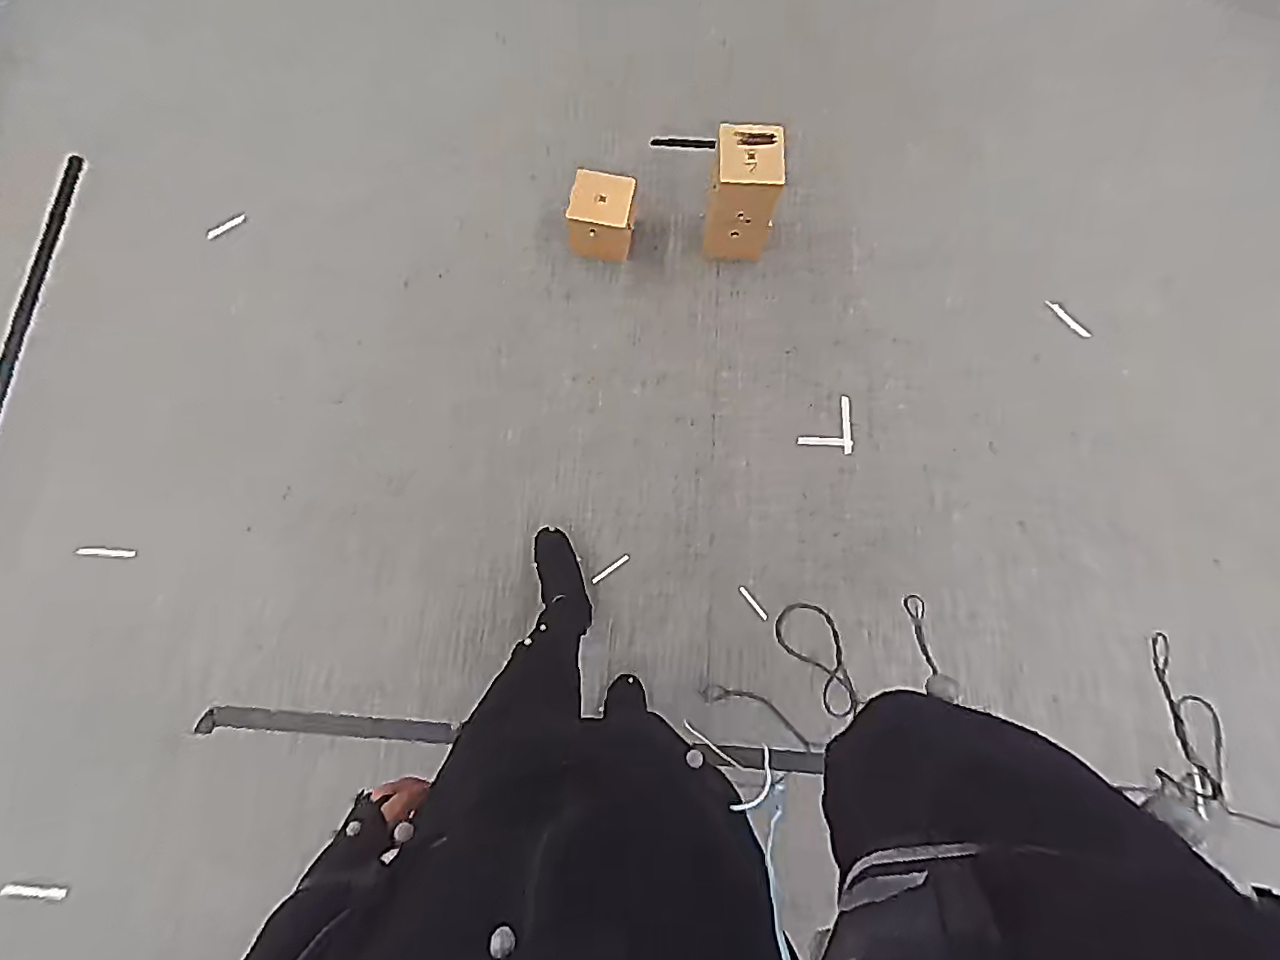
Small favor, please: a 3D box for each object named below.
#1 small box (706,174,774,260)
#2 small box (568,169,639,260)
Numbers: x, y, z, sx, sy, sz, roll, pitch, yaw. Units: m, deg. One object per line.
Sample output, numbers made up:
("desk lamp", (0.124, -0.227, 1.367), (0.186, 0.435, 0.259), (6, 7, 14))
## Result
("small box", (0.294, -0.778, 1.613), (0.179, 0.176, 0.168), (2, 79, -1))
("small box", (-0.102, -0.781, 1.610), (0.179, 0.176, 0.168), (11, 79, 3))
